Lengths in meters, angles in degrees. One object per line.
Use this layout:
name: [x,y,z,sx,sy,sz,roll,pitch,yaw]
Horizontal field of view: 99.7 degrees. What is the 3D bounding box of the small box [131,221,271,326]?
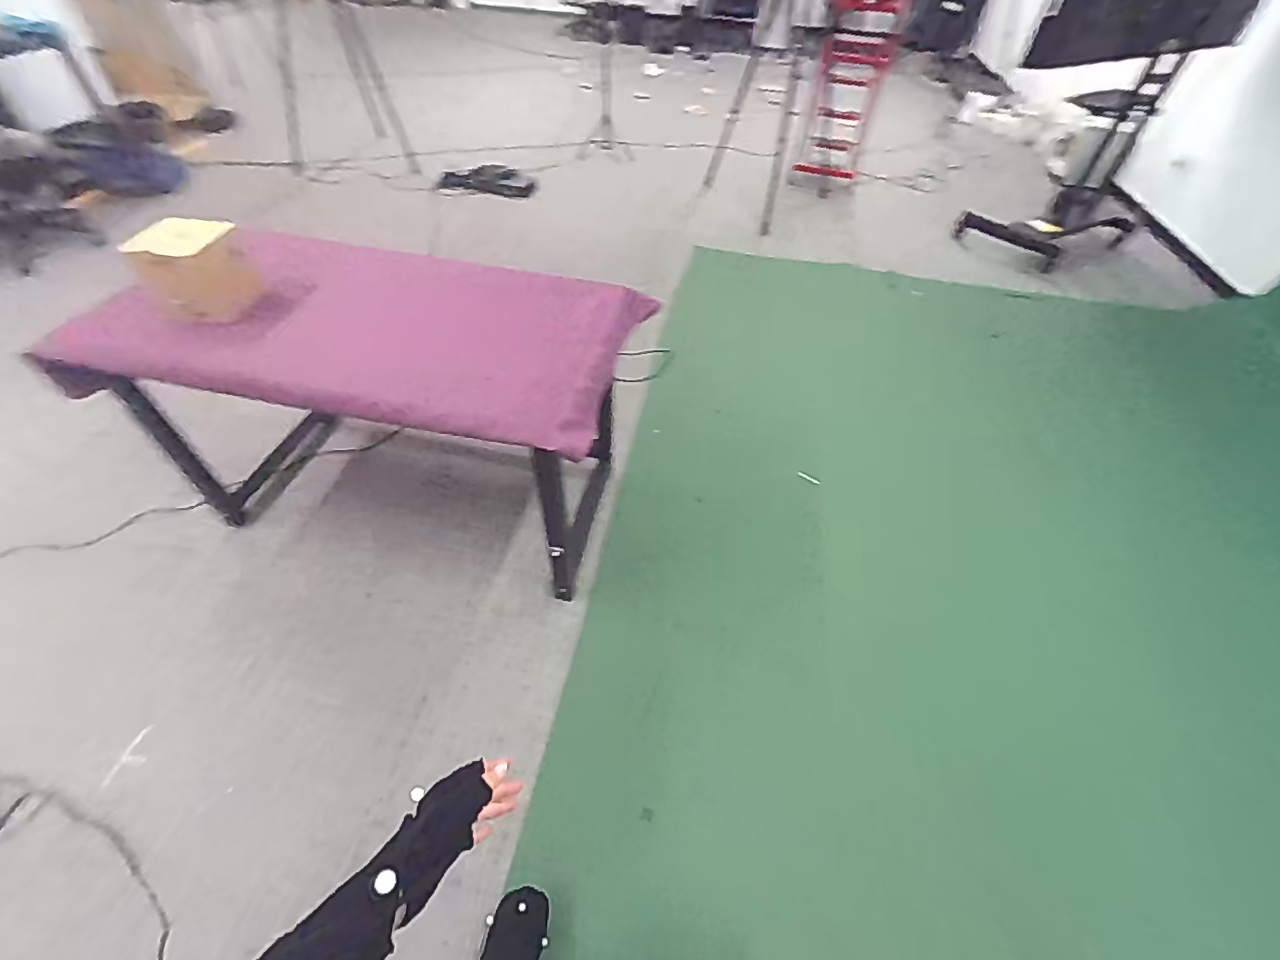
small box: [-1.030,-0.494,1.294,0.168,0.176,0.179,5,48,3]
